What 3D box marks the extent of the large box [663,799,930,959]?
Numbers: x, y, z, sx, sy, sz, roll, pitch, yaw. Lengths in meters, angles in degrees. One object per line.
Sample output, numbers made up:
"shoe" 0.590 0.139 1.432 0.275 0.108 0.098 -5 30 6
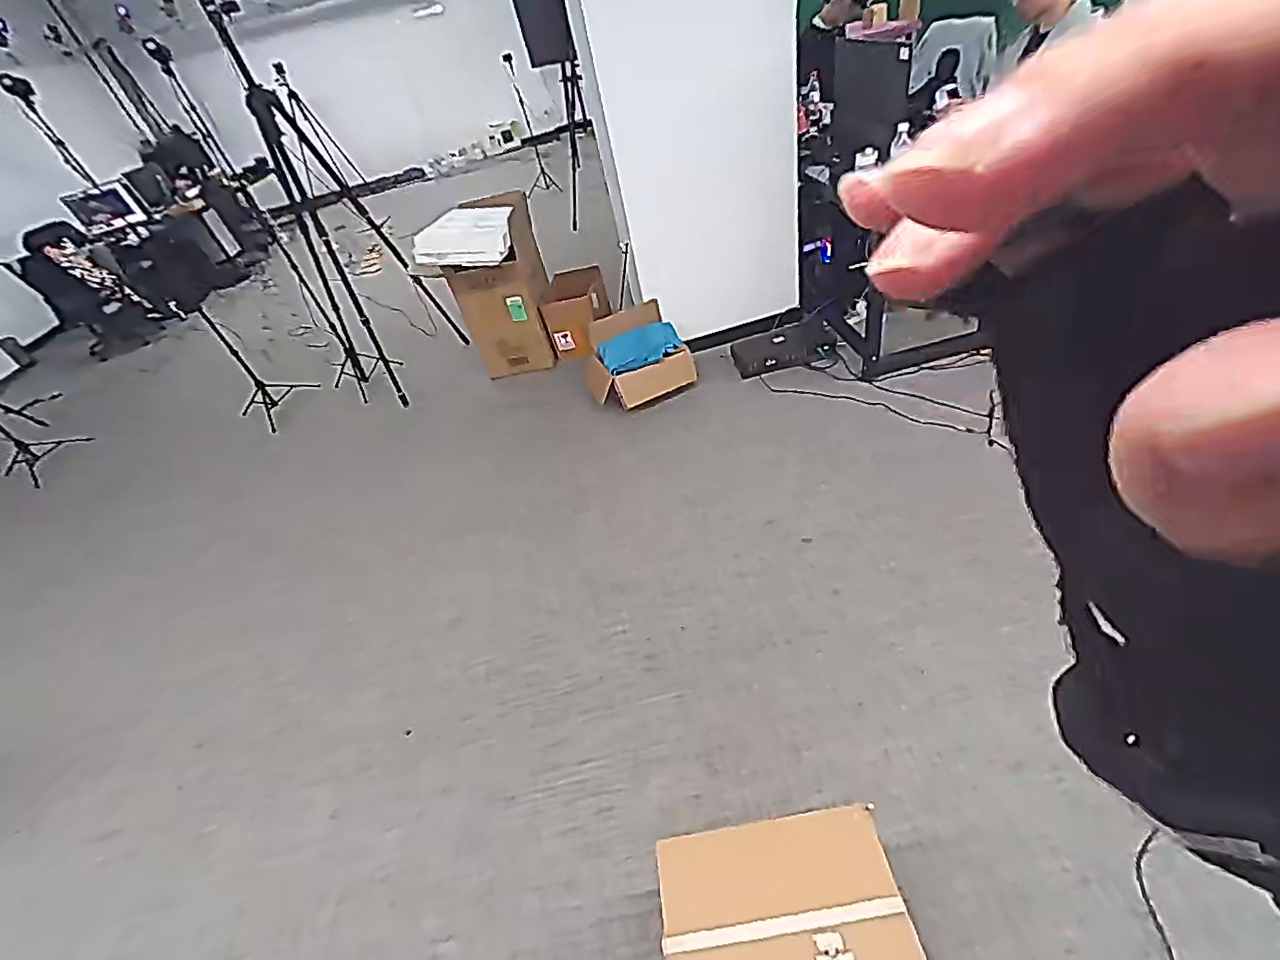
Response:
"large box" 0.281 0.852 1.005 0.408 0.320 0.320 -13 41 3
